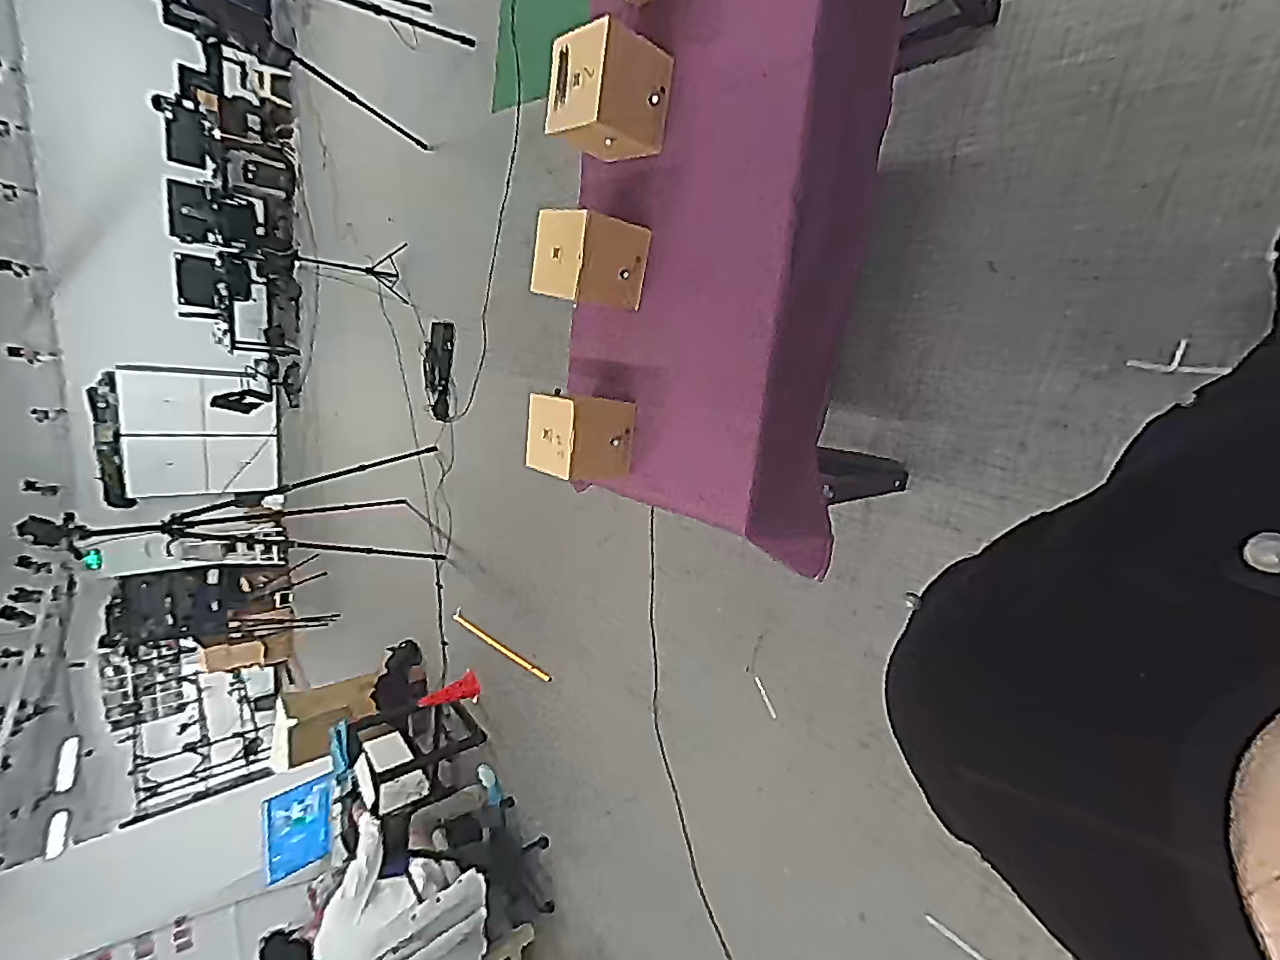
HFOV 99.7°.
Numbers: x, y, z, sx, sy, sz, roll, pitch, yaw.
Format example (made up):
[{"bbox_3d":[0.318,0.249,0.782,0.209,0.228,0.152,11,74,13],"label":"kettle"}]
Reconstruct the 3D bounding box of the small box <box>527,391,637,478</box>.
[{"bbox_3d":[-0.132,-0.105,1.212,0.179,0.176,0.168,18,107,46],"label":"small box"}]

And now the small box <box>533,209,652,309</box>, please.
[{"bbox_3d":[-0.103,-0.467,1.153,0.179,0.176,0.168,27,113,42],"label":"small box"}]
